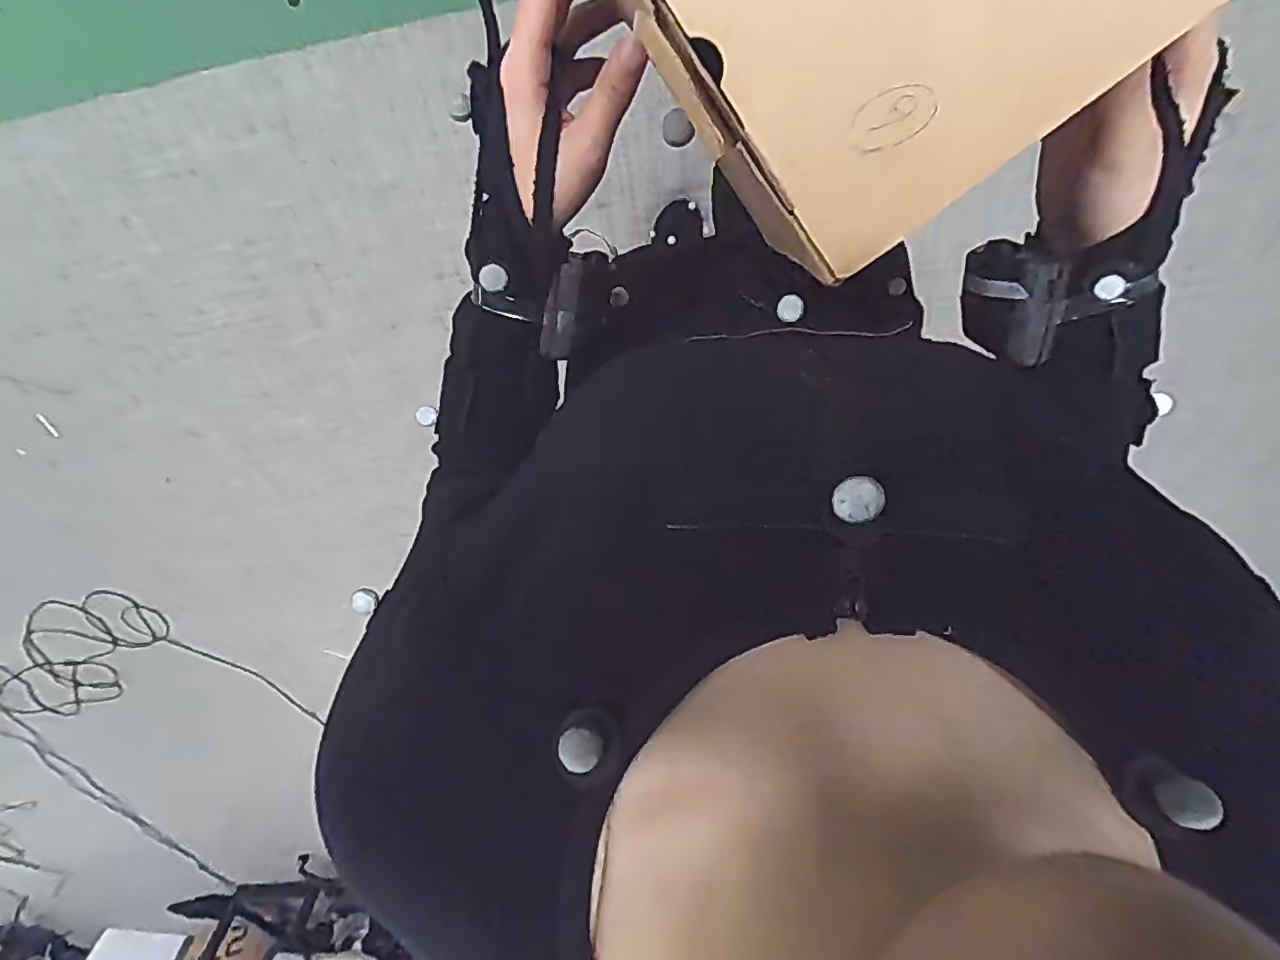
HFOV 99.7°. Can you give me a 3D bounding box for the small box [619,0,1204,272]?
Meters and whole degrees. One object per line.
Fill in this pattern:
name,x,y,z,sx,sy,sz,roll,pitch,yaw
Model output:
small box,0.093,-0.216,0.221,0.179,0.176,0.168,-35,110,22
